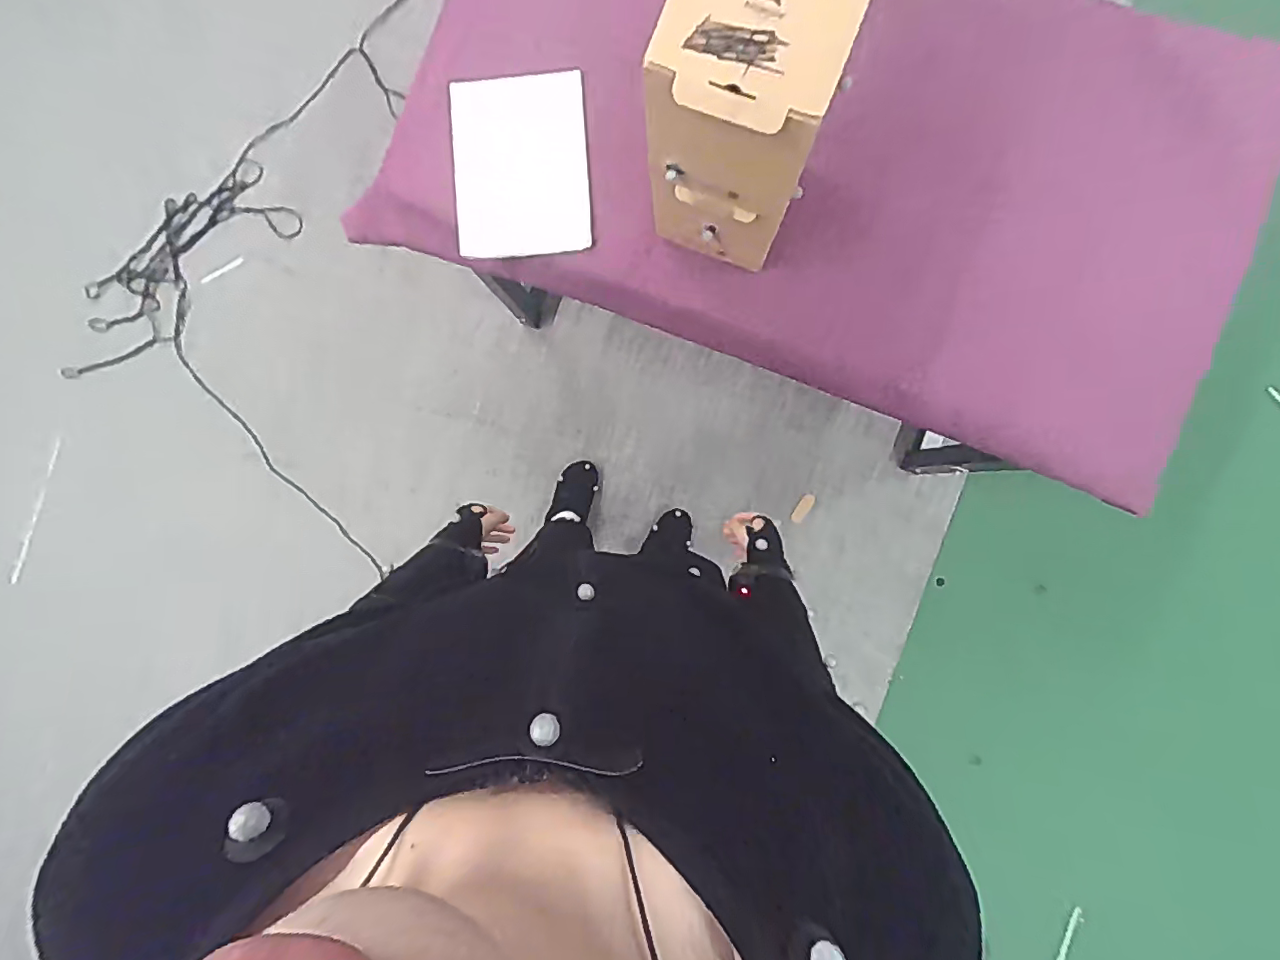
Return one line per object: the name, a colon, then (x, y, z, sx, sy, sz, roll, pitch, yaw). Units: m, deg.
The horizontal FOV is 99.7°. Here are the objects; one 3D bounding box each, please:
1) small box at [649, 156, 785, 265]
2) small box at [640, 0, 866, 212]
small box: (0.122, -0.415, 0.715, 0.168, 0.176, 0.179, 22, 91, 3)
small box: (0.111, -0.412, 0.550, 0.168, 0.176, 0.179, 22, 89, 3)
